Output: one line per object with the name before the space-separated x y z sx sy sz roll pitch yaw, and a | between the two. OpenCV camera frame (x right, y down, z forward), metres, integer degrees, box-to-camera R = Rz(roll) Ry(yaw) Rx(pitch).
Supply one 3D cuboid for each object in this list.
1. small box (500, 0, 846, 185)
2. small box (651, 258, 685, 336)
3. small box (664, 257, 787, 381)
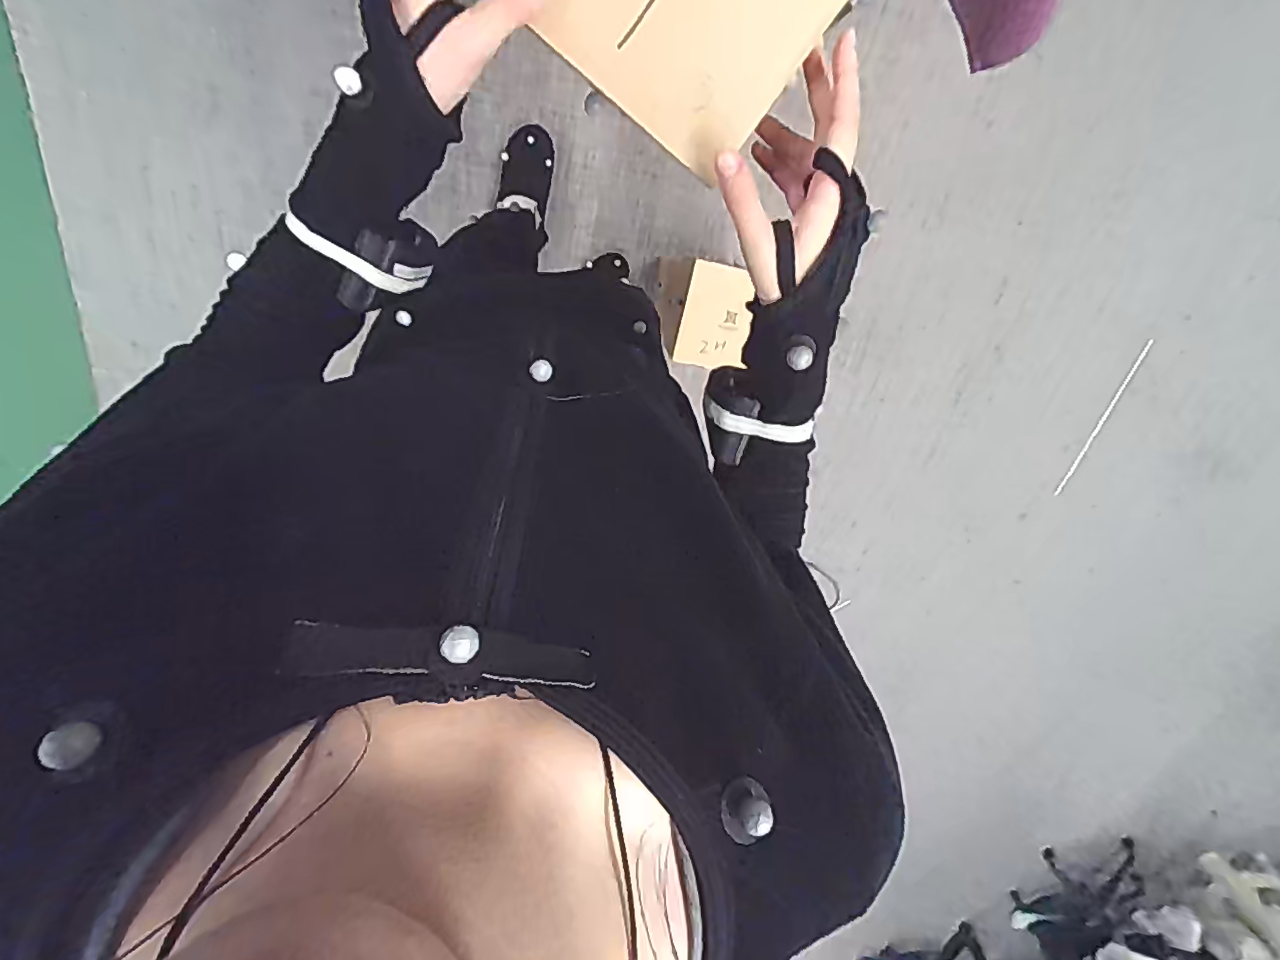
small box | 0.029 -0.321 0.333 0.168 0.176 0.179 32 119 -19
small box | 0.125 -0.437 1.306 0.179 0.176 0.168 4 116 -6
small box | 0.146 -0.305 1.004 0.168 0.176 0.179 11 115 -8
